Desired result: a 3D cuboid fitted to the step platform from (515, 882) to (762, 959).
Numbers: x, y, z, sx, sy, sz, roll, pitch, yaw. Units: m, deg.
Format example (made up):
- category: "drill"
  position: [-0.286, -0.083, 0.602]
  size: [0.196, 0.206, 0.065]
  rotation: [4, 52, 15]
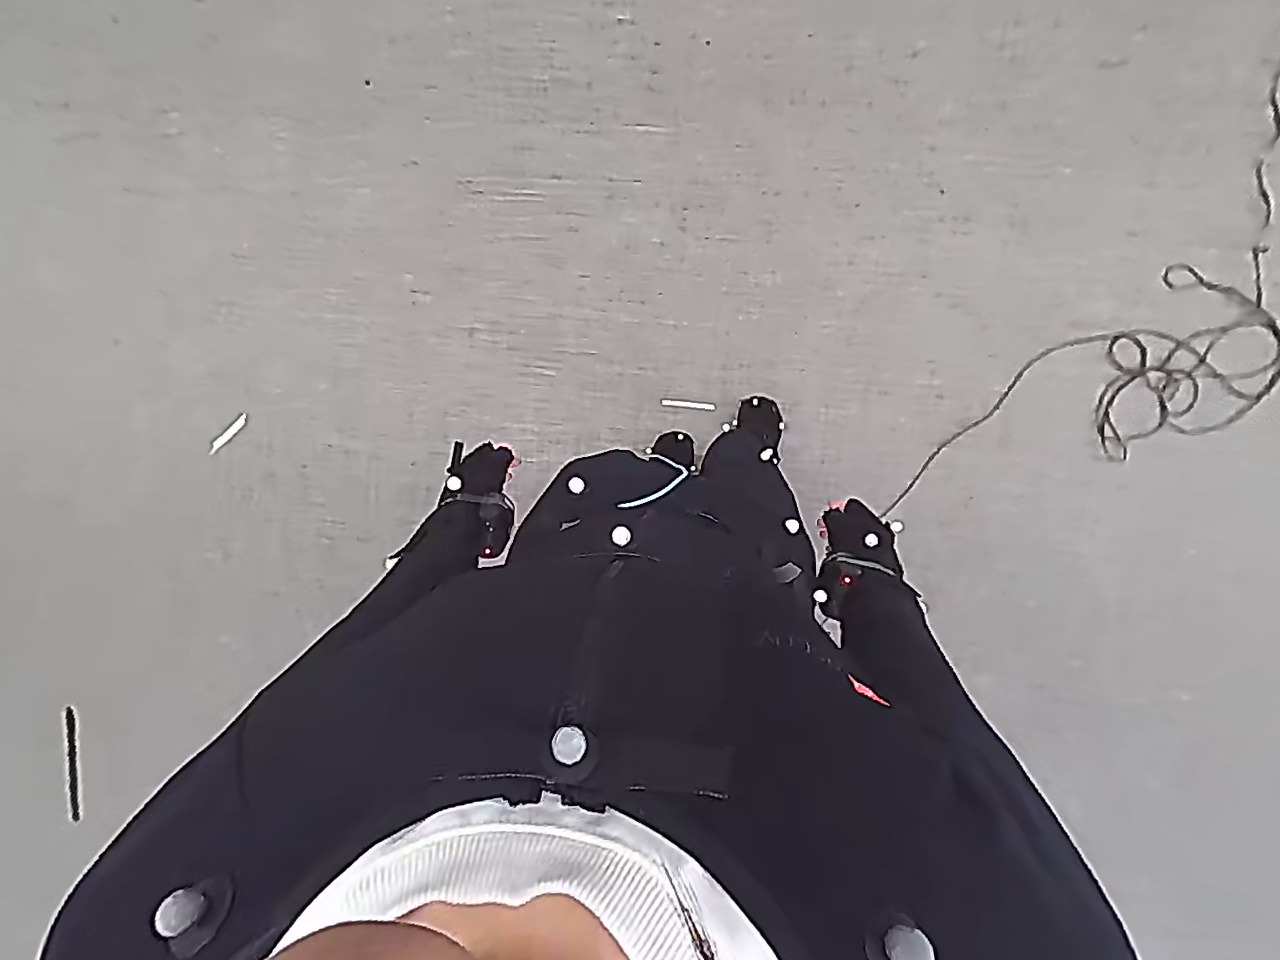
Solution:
- category: "step platform"
  position: [-0.007, 1.366, 1.500]
  size: [0.684, 0.204, 0.286]
  rotation: [5, 96, 7]
